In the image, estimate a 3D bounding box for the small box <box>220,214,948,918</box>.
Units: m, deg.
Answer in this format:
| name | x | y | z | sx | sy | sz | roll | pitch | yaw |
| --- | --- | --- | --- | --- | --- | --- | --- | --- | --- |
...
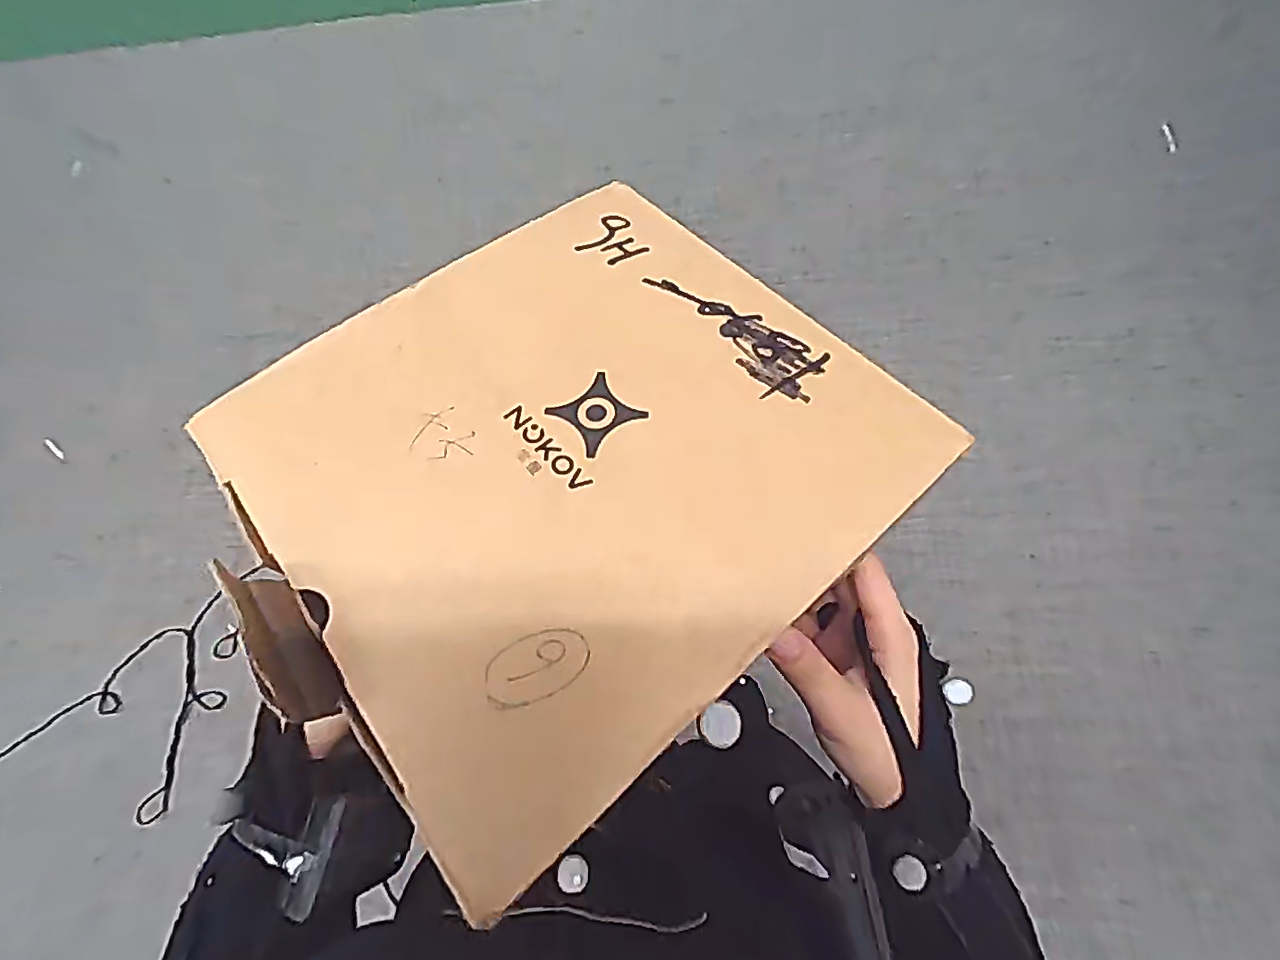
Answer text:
| name | x | y | z | sx | sy | sz | roll | pitch | yaw |
| --- | --- | --- | --- | --- | --- | --- | --- | --- | --- |
| small box | -0.018 | 0.031 | 0.241 | 0.179 | 0.176 | 0.168 | -38 | 68 | -17 |
